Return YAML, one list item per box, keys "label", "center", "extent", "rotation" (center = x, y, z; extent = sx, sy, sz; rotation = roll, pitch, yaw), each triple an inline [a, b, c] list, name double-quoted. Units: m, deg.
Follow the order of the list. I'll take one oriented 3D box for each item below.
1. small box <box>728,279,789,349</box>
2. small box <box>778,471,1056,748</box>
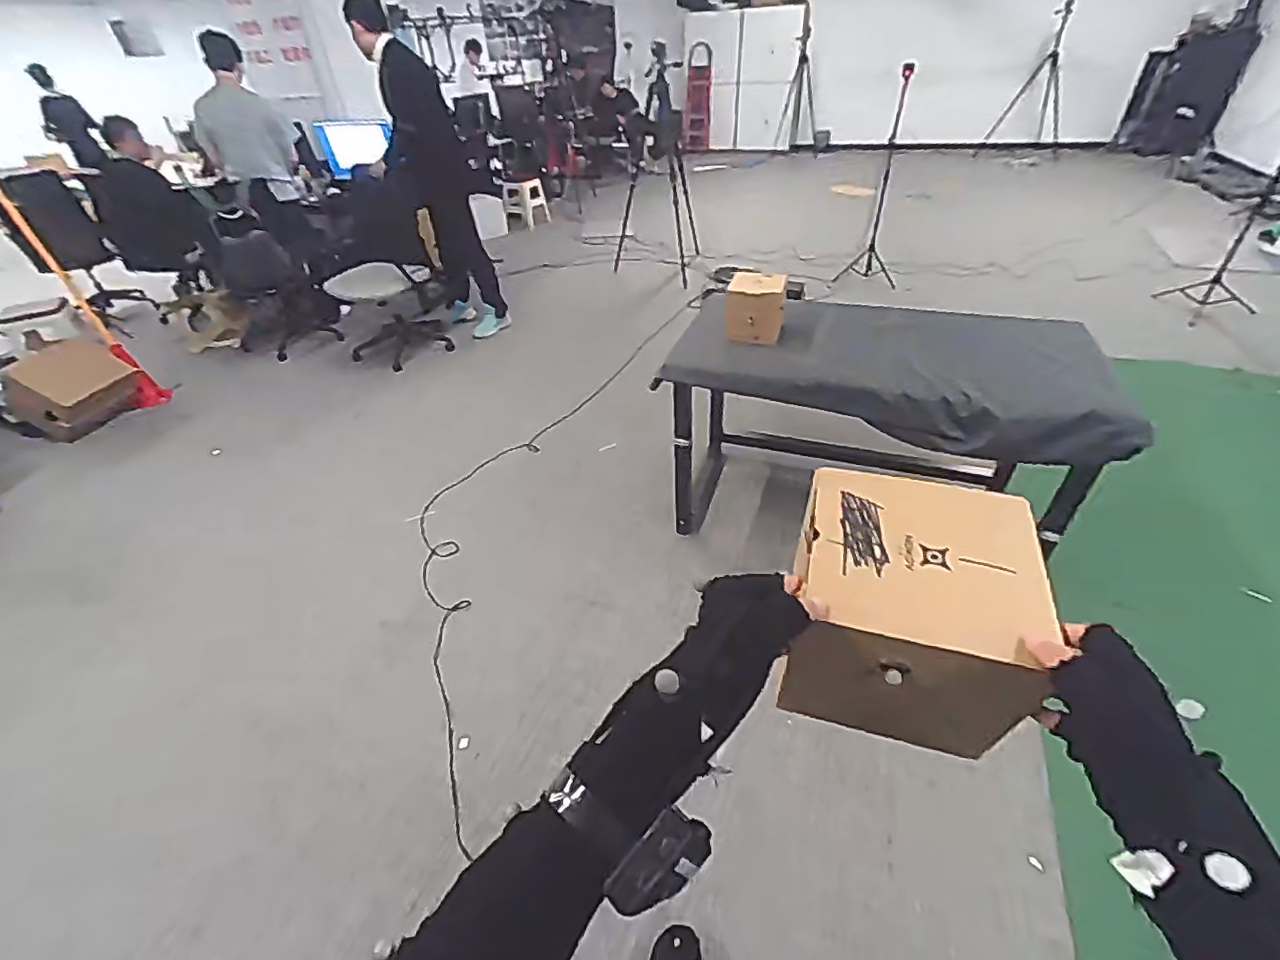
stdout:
- label: "small box"
  center: [0.384, -0.537, 1.753]
  extent: [0.168, 0.176, 0.179]
  rotation: [10, 41, 17]
- label: "small box"
  center: [0.228, 0.117, 0.493]
  extent: [0.179, 0.176, 0.168]
  rotation: [10, 47, 15]
